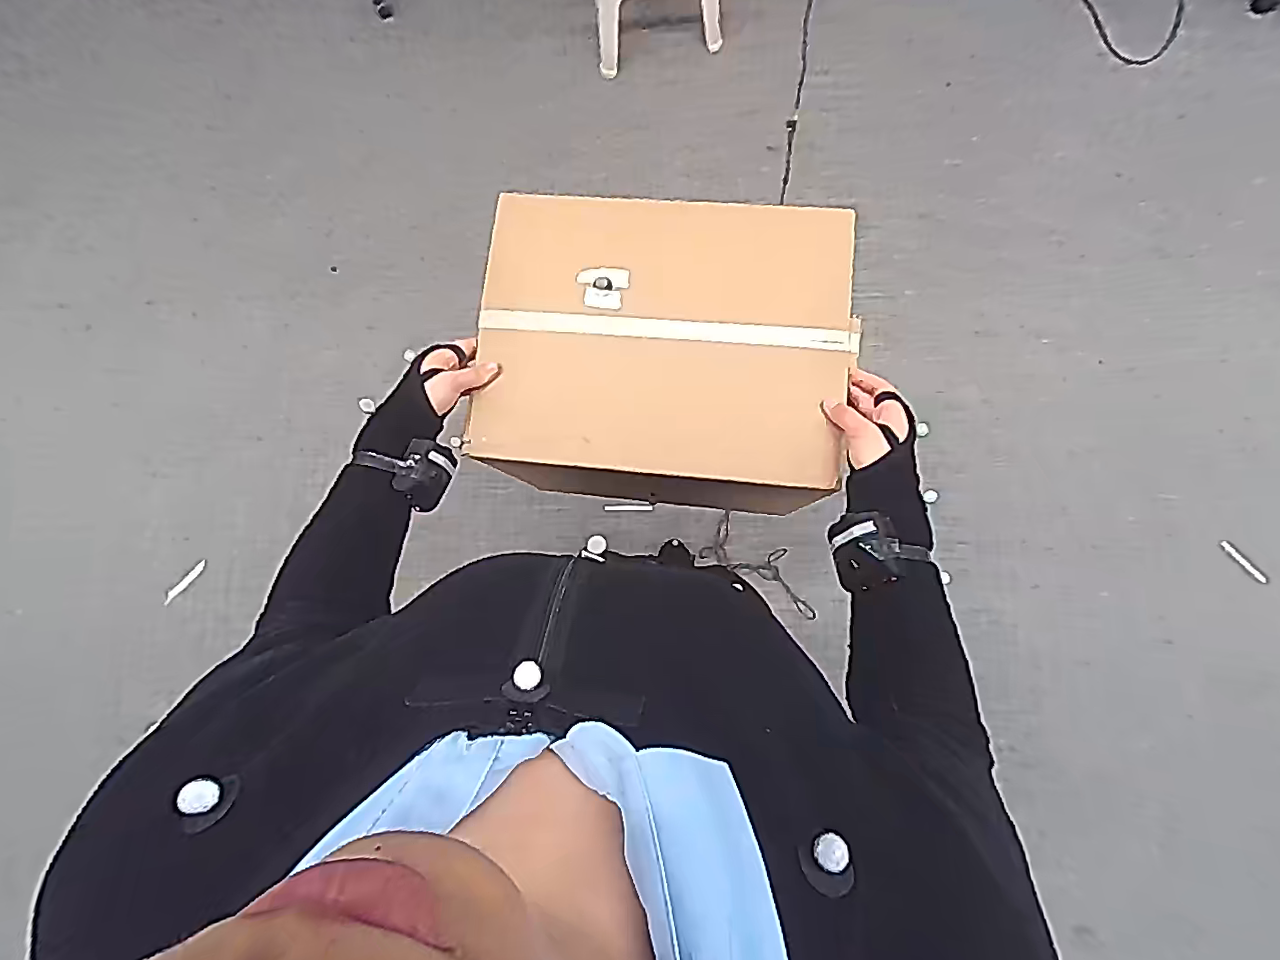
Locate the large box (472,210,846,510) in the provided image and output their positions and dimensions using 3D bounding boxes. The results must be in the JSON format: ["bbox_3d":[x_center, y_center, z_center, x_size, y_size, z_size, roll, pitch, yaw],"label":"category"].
[{"bbox_3d":[0.038,-0.136,0.747,0.408,0.320,0.320,5,80,7],"label":"large box"}]
